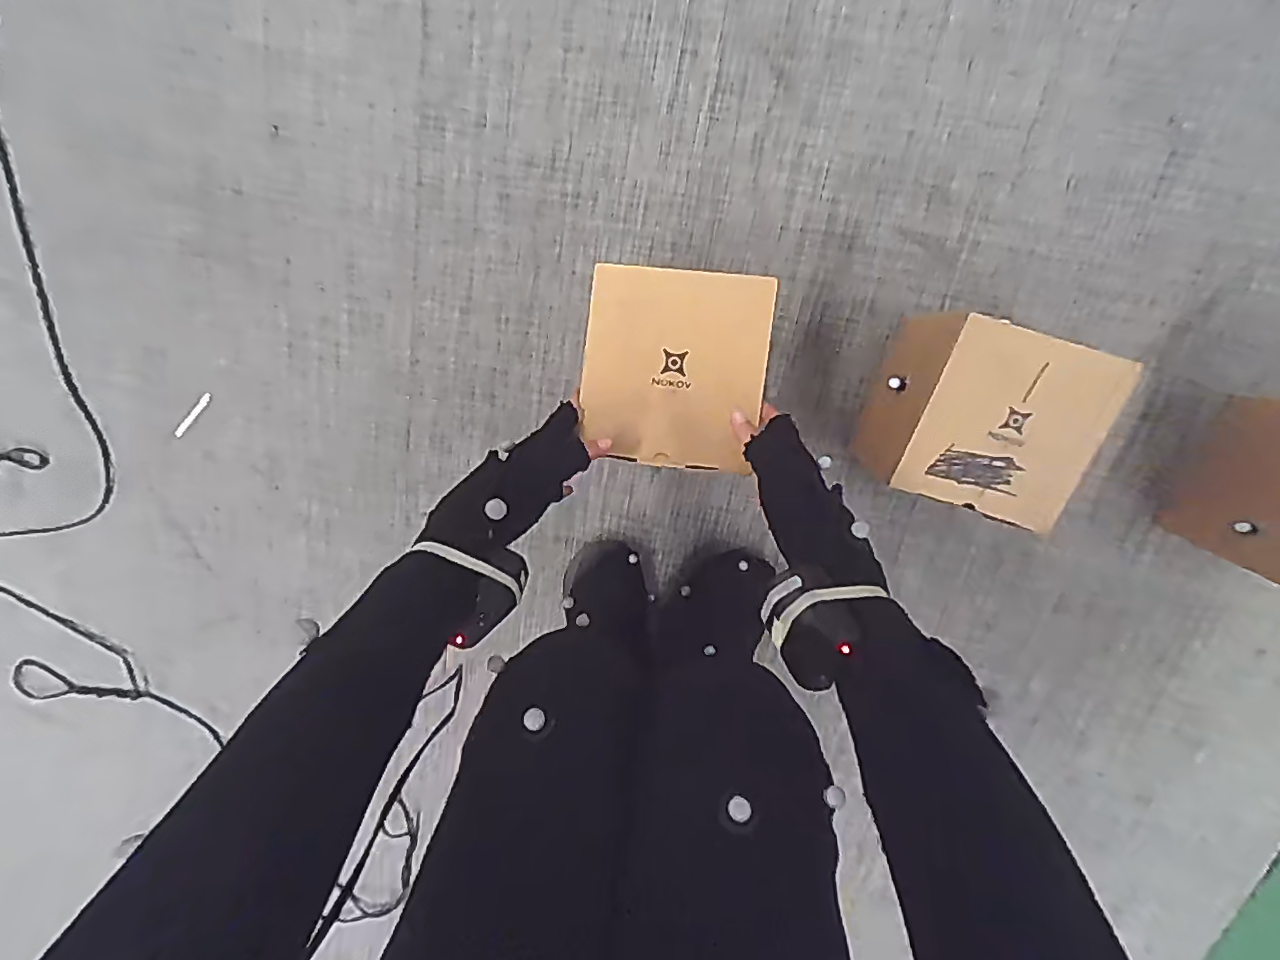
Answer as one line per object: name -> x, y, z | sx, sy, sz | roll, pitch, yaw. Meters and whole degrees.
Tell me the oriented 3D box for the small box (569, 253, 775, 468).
small box -> 0.033, -0.109, 0.556 | 0.168, 0.176, 0.179 | 7, 93, 5
